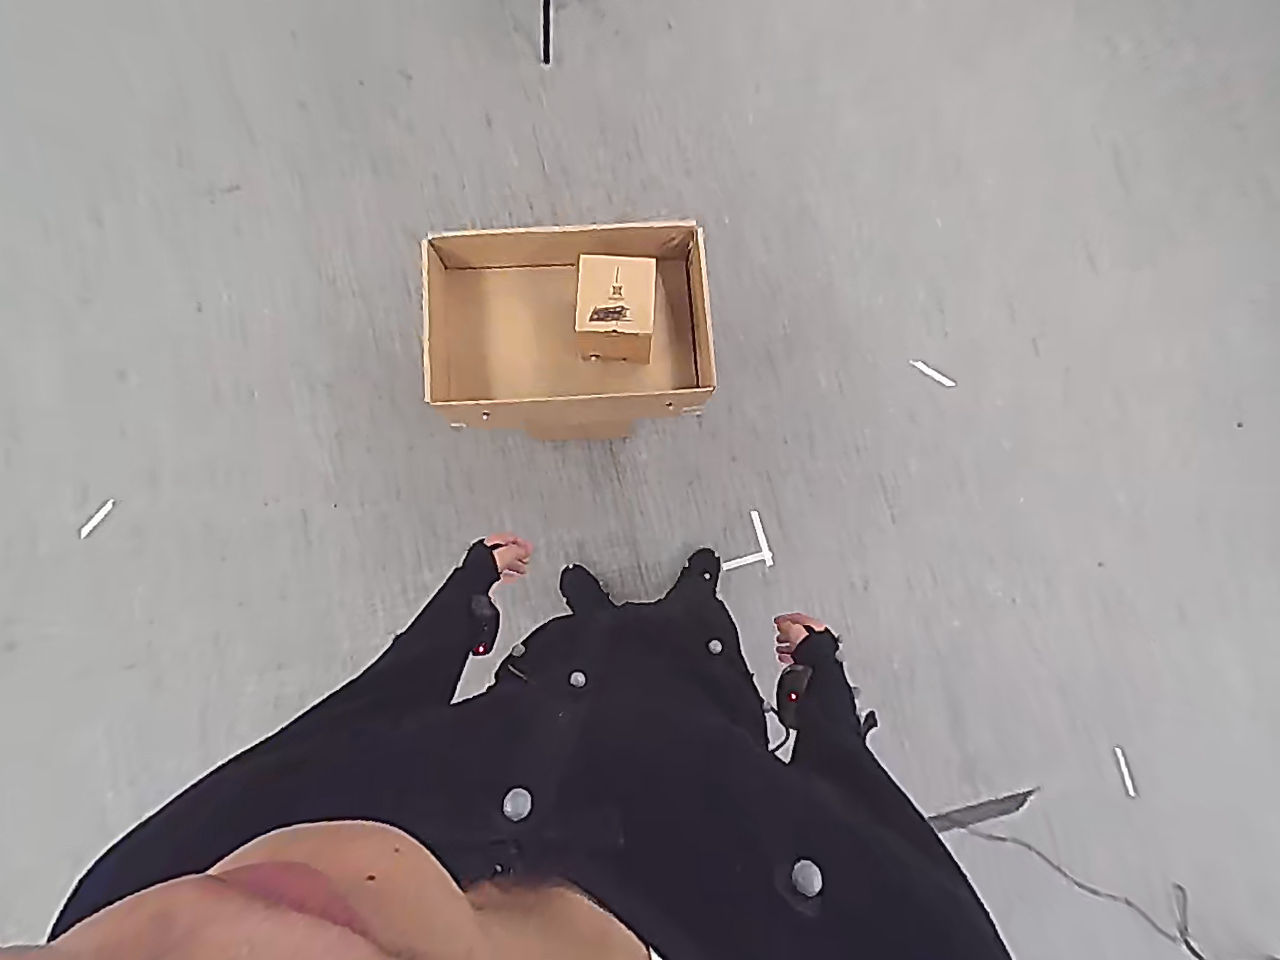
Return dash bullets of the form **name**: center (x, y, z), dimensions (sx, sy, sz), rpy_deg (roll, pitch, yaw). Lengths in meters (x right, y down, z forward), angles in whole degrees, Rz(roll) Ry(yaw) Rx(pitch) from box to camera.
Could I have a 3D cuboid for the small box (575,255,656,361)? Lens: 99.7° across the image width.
- **small box**: center (-0.052, -0.381, 1.222), dimensions (0.168, 0.176, 0.179), rpy_deg (3, 81, -1)
